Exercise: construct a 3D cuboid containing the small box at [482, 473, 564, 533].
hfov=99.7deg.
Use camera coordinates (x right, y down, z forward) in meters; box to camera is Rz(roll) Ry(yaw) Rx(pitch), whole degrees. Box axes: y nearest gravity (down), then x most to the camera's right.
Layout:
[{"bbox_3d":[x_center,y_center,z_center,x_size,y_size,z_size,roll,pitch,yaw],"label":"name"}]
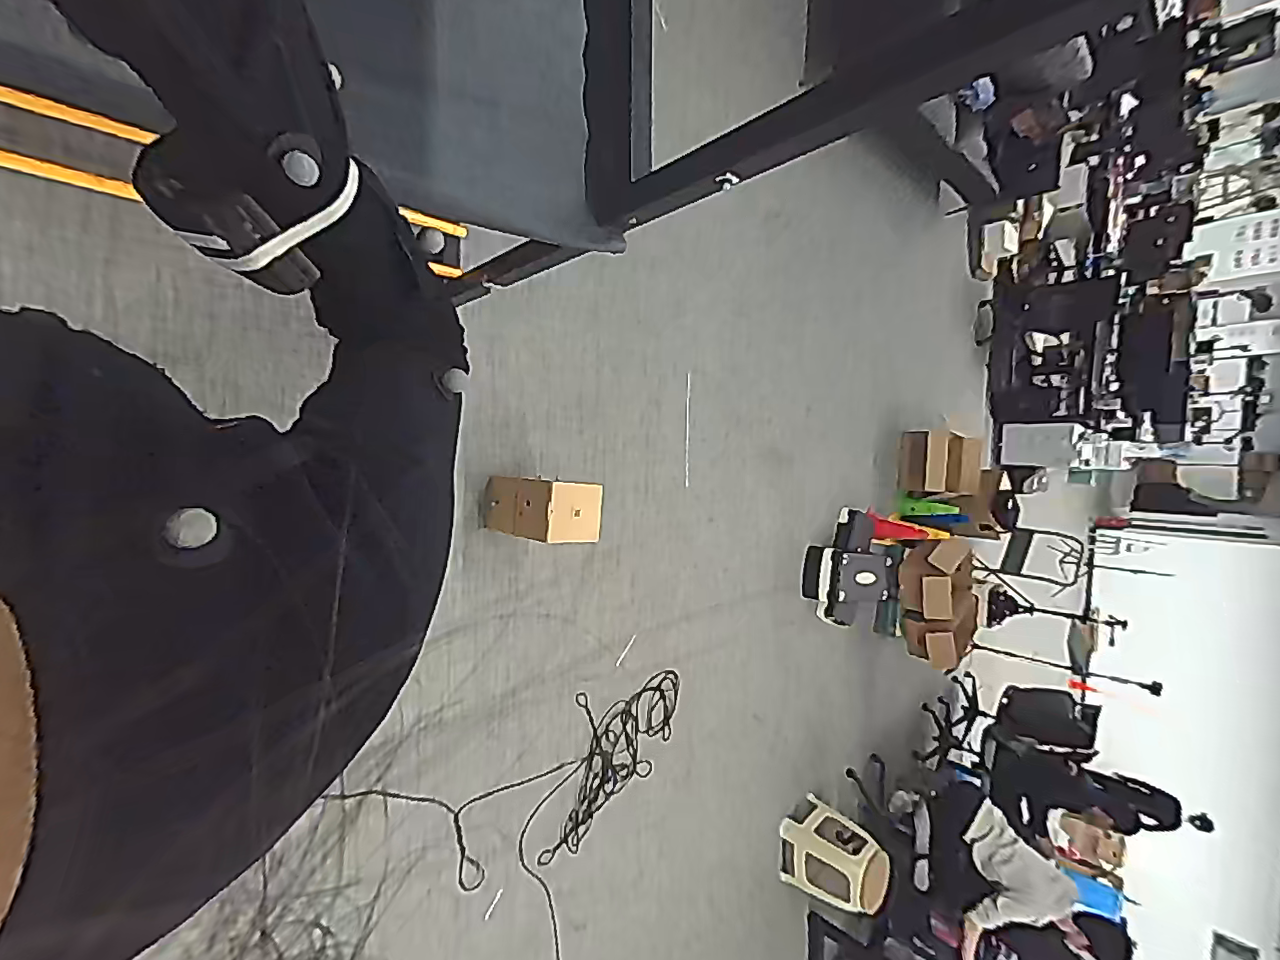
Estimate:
[{"bbox_3d":[-0.357,0.068,1.650,0.179,0.176,0.168,7,88,-43],"label":"small box"}]
